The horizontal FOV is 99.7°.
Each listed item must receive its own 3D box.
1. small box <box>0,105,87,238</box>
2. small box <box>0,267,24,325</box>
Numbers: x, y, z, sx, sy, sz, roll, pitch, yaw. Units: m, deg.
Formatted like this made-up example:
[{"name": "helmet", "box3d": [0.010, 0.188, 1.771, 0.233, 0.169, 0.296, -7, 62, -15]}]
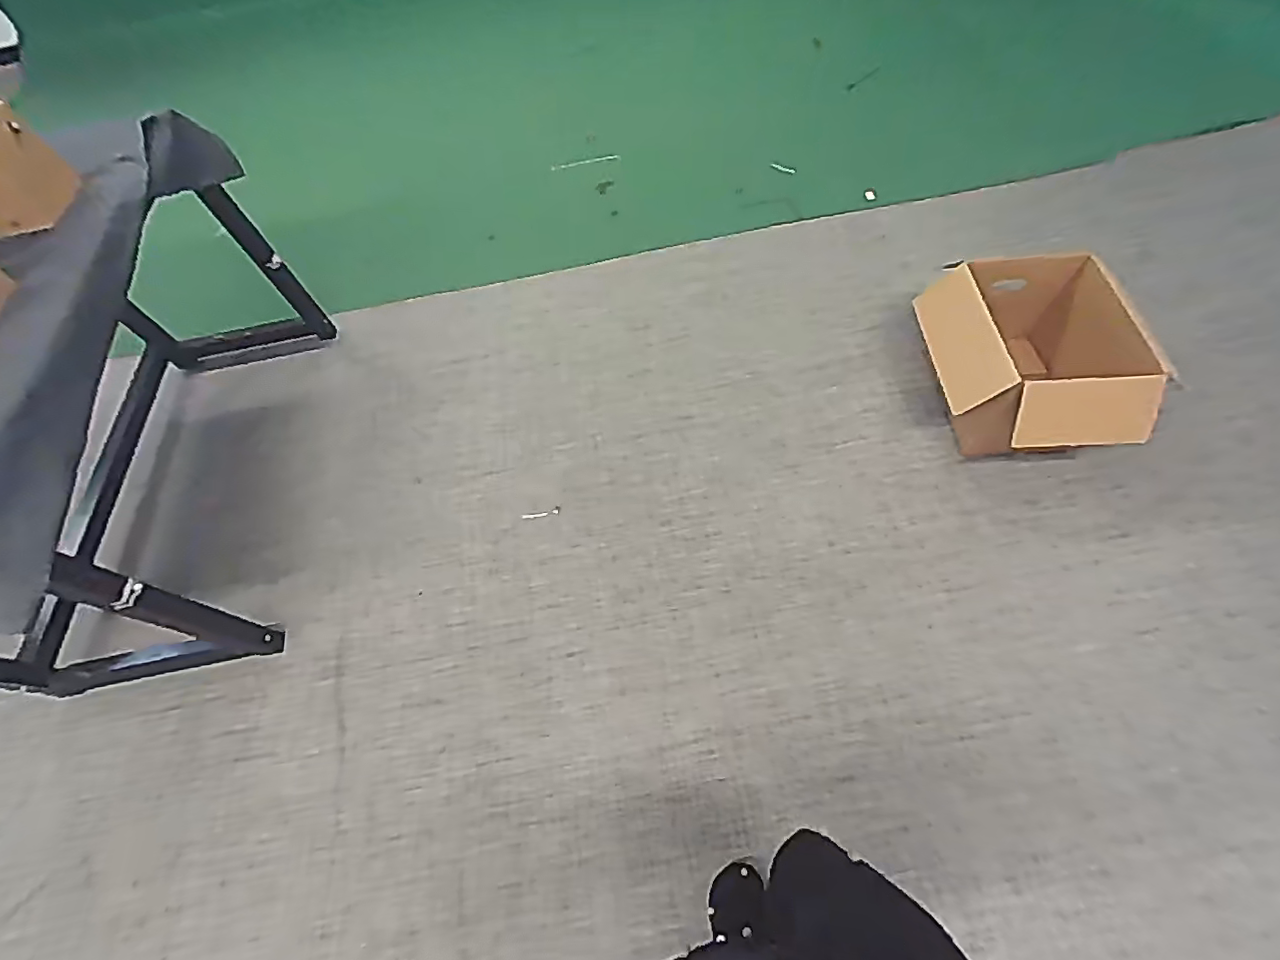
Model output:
[{"name": "small box", "box3d": [-1.313, -0.622, 1.109, 0.168, 0.176, 0.179, -10, 59, 2]}, {"name": "small box", "box3d": [-1.268, -0.334, 0.938, 0.179, 0.176, 0.168, -11, 60, 0]}]
